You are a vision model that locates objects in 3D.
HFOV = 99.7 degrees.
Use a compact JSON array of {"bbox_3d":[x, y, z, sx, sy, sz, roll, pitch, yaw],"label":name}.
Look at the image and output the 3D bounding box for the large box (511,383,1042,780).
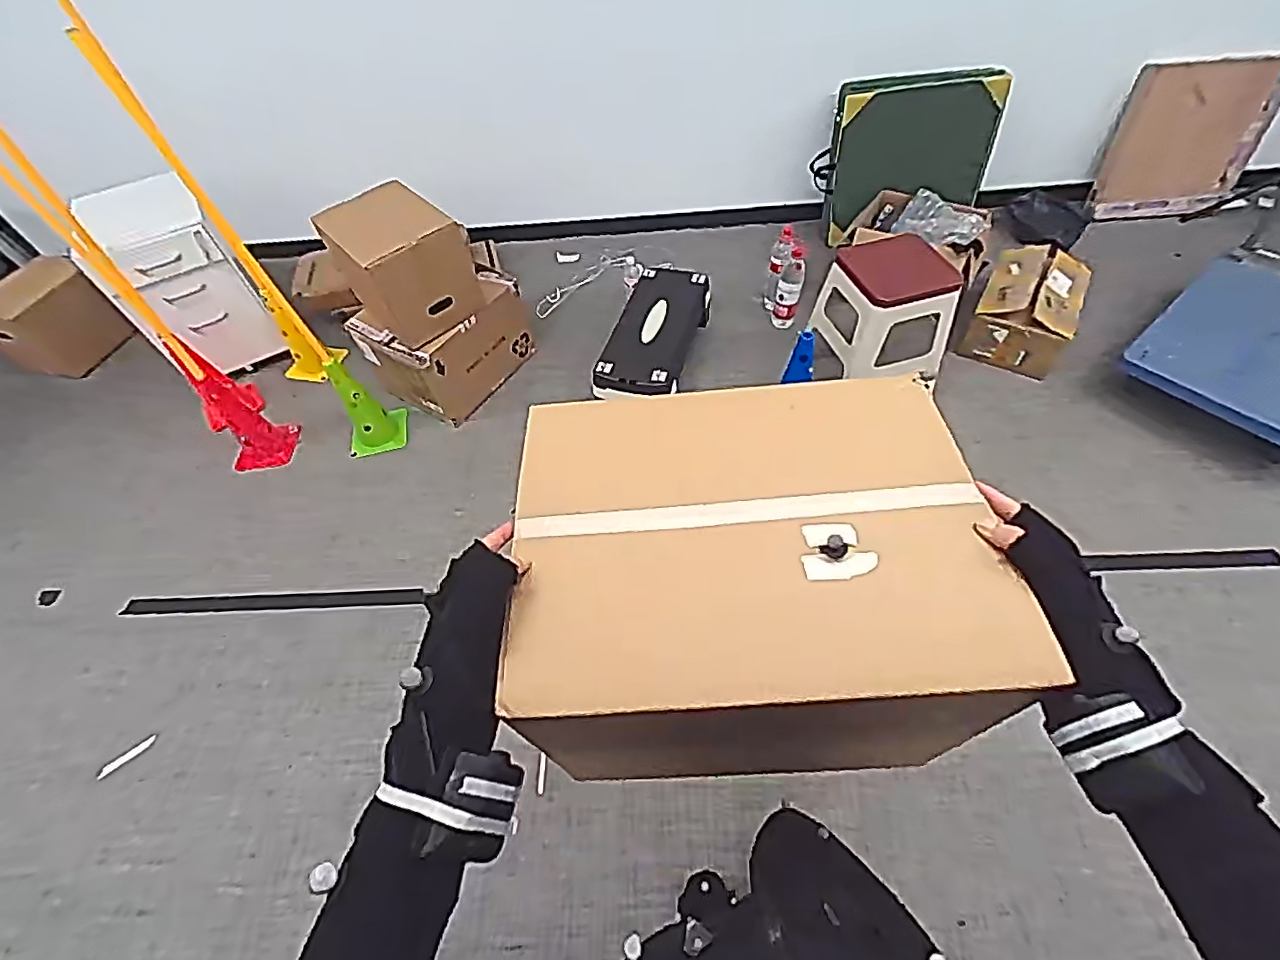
[{"bbox_3d":[0.102,0.125,0.606,0.408,0.320,0.320,-5,53,3],"label":"large box"}]
